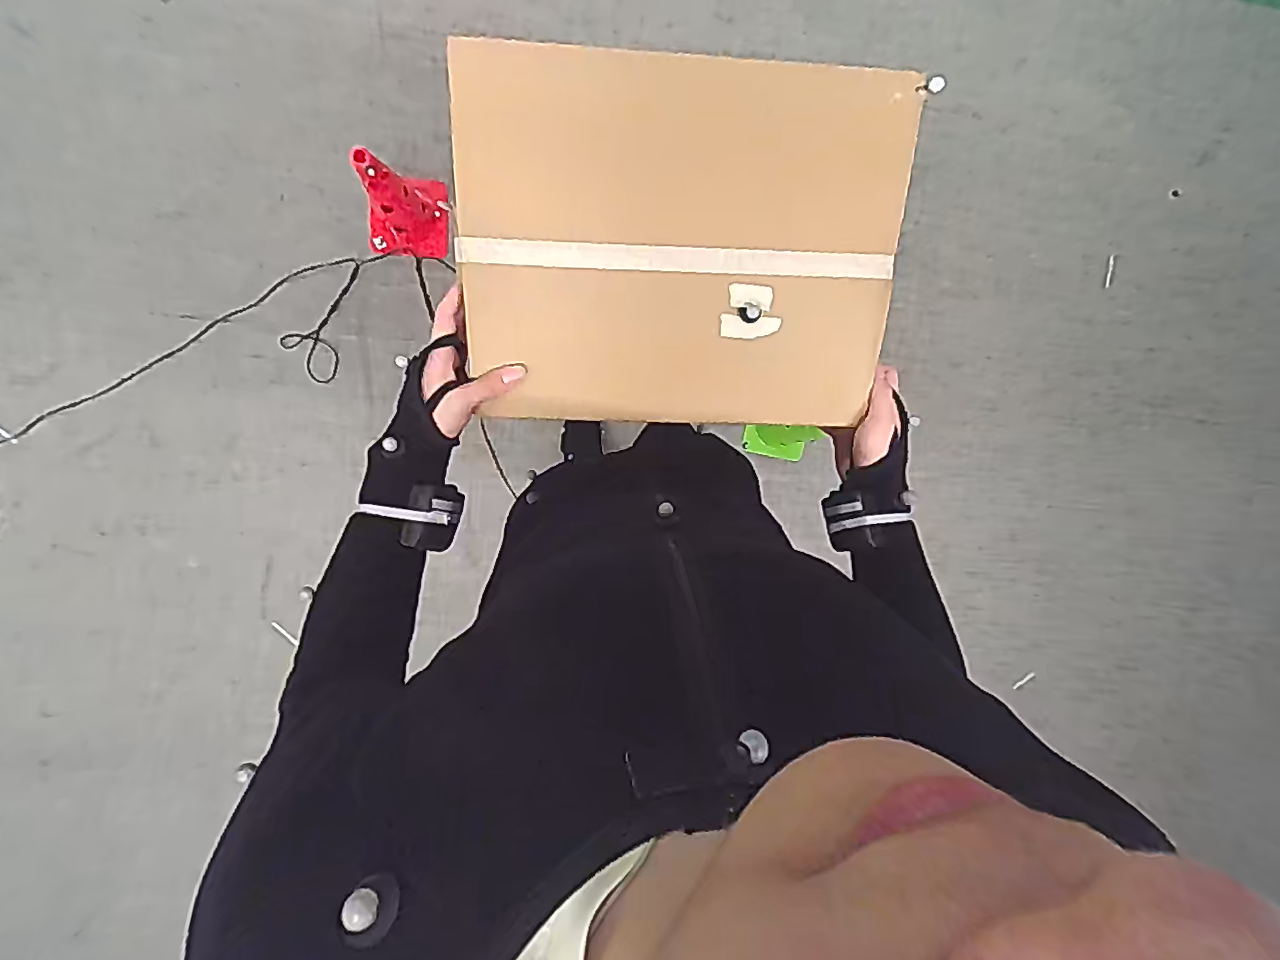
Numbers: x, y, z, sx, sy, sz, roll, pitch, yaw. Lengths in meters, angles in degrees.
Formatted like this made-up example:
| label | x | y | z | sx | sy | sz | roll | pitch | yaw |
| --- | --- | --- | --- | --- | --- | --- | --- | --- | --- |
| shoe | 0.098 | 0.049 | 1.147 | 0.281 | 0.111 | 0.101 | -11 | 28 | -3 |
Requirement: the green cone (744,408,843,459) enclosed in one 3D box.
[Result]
| label | x | y | z | sx | sy | sz | roll | pitch | yaw |
| --- | --- | --- | --- | --- | --- | --- | --- | --- | --- |
| green cone | 0.454 | -0.159 | 1.494 | 0.200 | 0.368 | 0.202 | 10 | 94 | -9 |

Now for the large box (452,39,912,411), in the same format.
| label | x | y | z | sx | sy | sz | roll | pitch | yaw |
| --- | --- | --- | --- | --- | --- | --- | --- | --- | --- |
| large box | 0.027 | -0.267 | 0.646 | 0.408 | 0.320 | 0.320 | 0 | 111 | -5 |
